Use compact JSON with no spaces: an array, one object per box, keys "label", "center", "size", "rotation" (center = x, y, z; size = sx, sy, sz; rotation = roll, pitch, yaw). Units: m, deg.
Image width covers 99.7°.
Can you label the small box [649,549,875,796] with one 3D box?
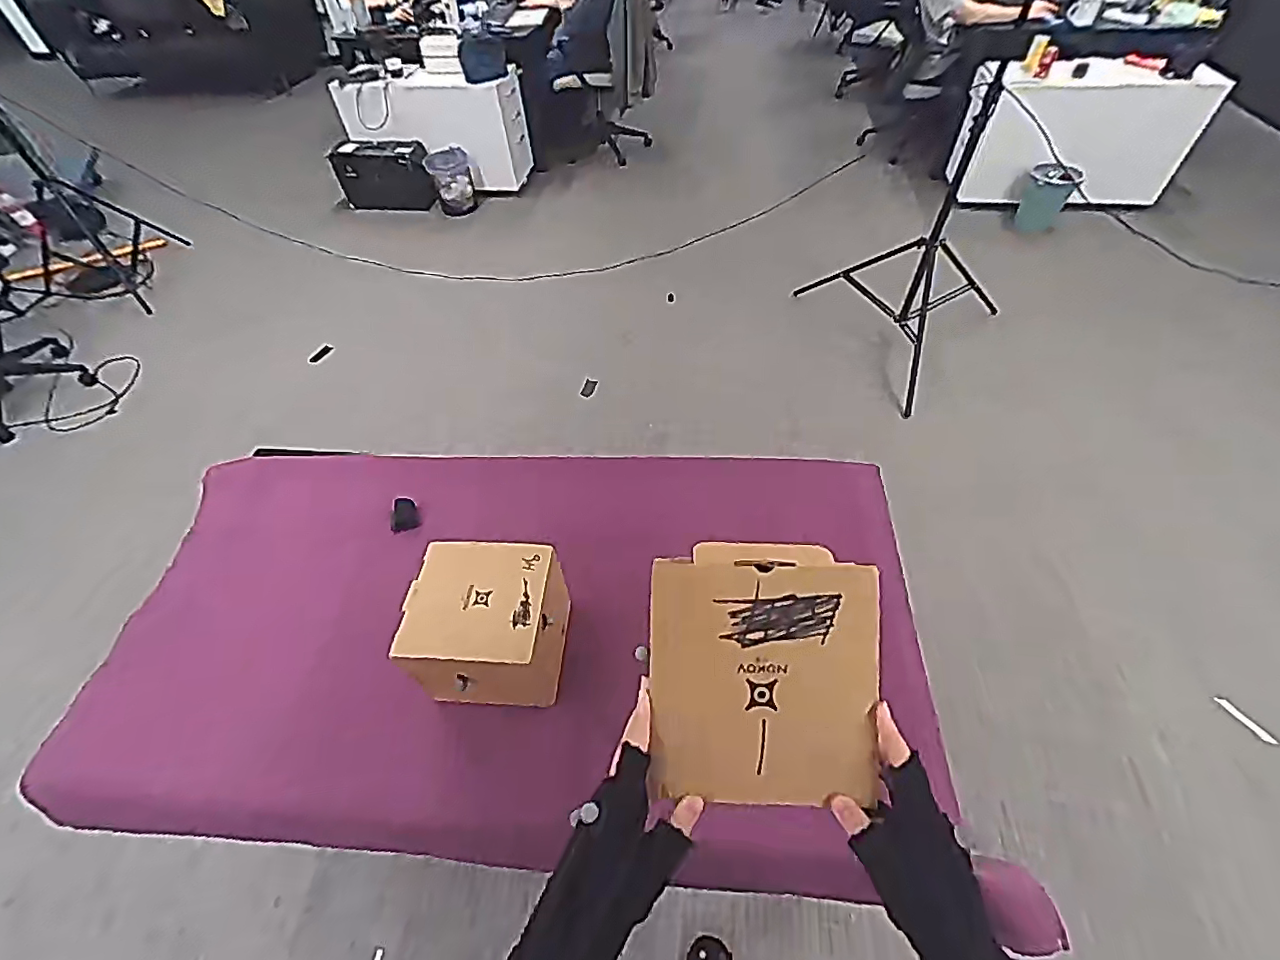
[{"label":"small box","center":[0.093,0.166,0.492],"size":[0.168,0.176,0.179],"rotation":[1,73,2]}]

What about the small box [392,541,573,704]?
[{"label":"small box","center":[-0.202,0.201,0.752],"size":[0.179,0.176,0.168],"rotation":[1,50,5]}]
